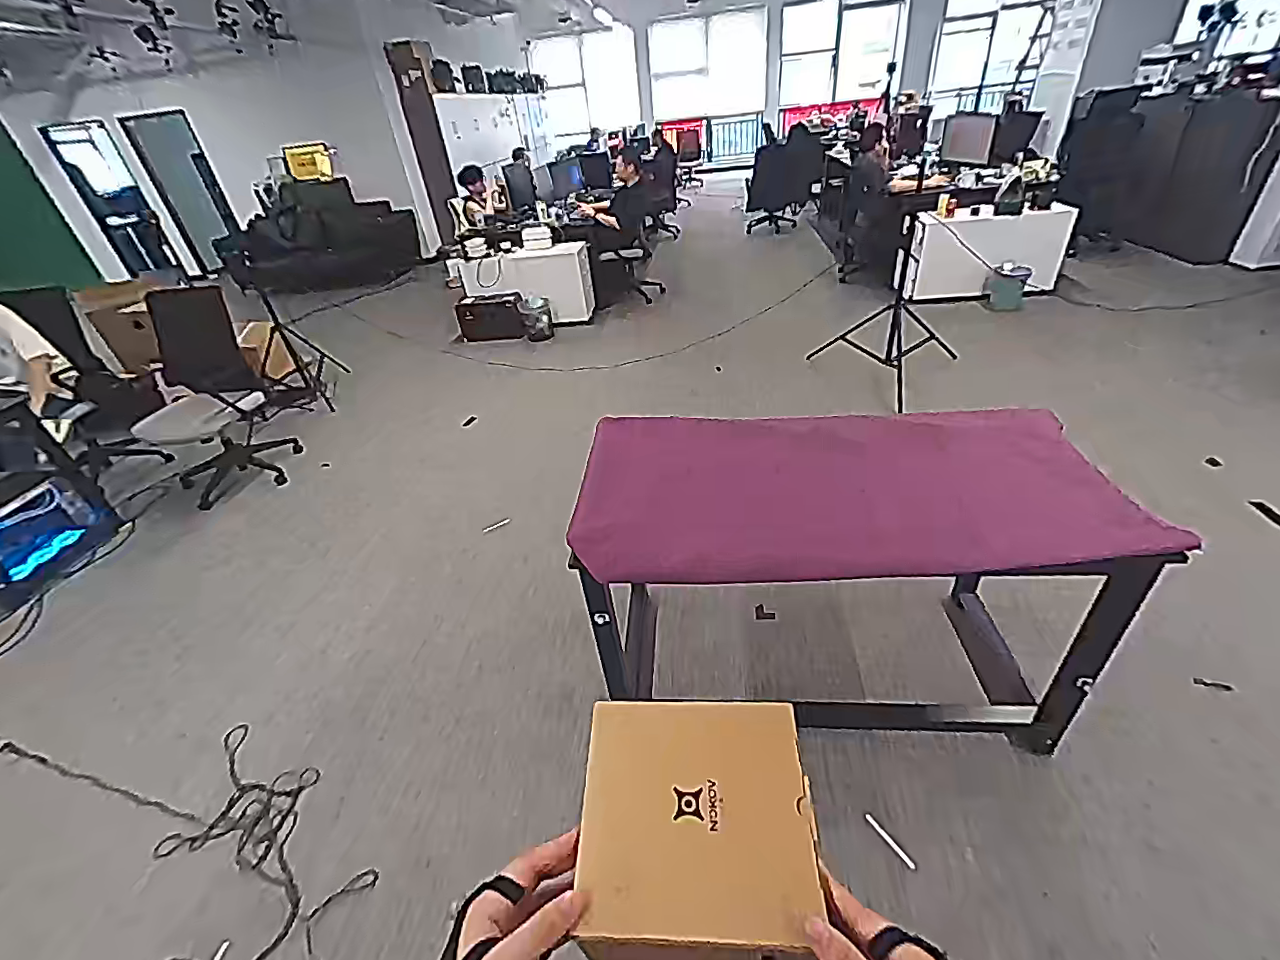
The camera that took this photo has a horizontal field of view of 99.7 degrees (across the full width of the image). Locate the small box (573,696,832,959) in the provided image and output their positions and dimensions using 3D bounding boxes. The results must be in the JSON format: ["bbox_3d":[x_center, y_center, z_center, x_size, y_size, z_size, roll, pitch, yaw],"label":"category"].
[{"bbox_3d":[0.051,0.307,0.468,0.179,0.176,0.168,-2,40,5],"label":"small box"}]
